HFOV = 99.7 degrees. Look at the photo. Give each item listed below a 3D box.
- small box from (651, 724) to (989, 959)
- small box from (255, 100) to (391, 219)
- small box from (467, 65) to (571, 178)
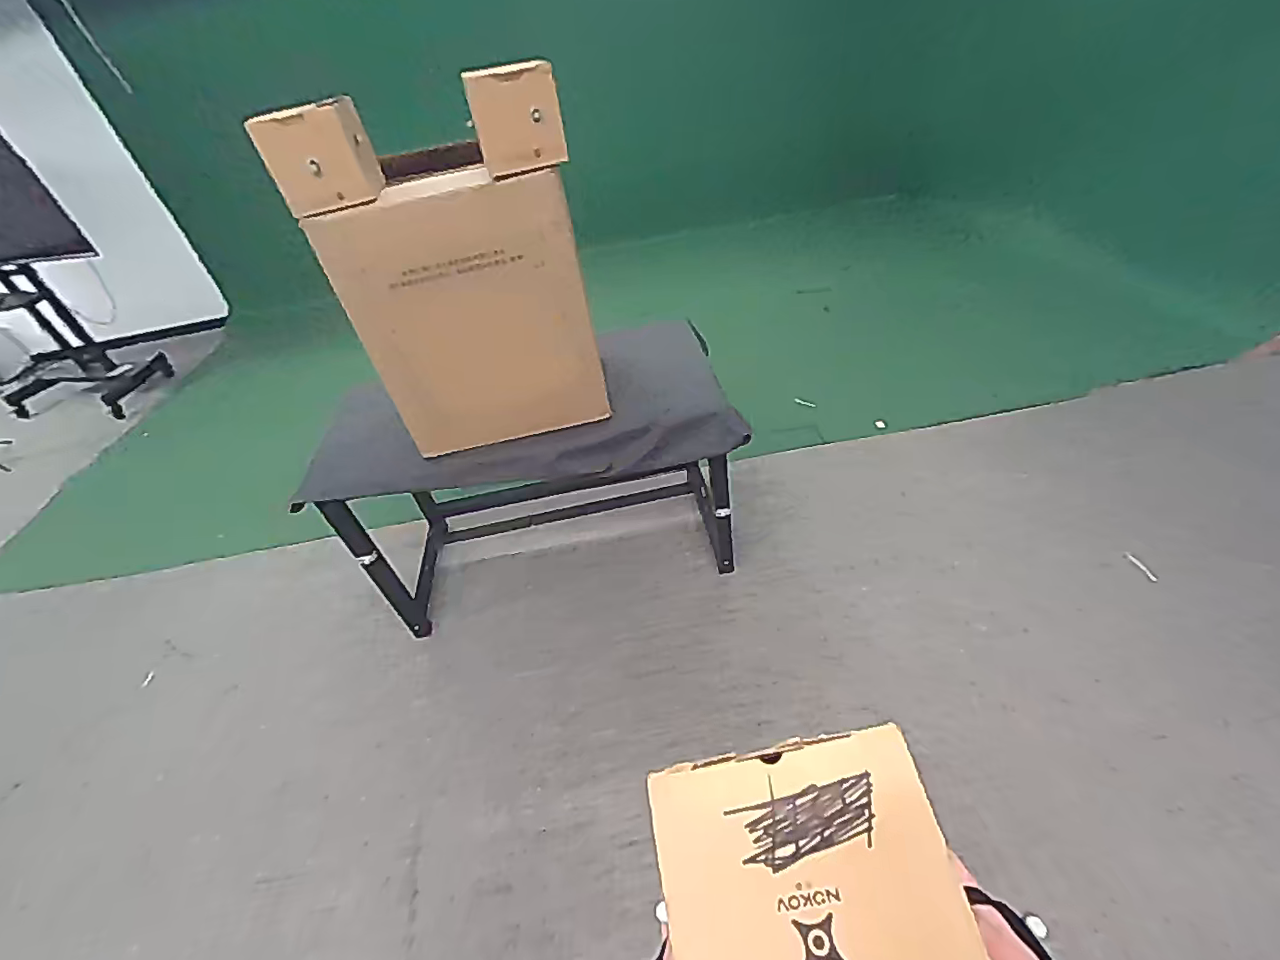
[{"bbox_3d":[0.113,0.286,0.366,0.168,0.176,0.179,-15,56,5],"label":"small box"},{"bbox_3d":[-0.637,-0.656,1.114,0.168,0.176,0.179,-15,41,-3],"label":"small box"},{"bbox_3d":[-0.248,-0.736,1.115,0.168,0.176,0.179,-15,40,-8],"label":"small box"}]
